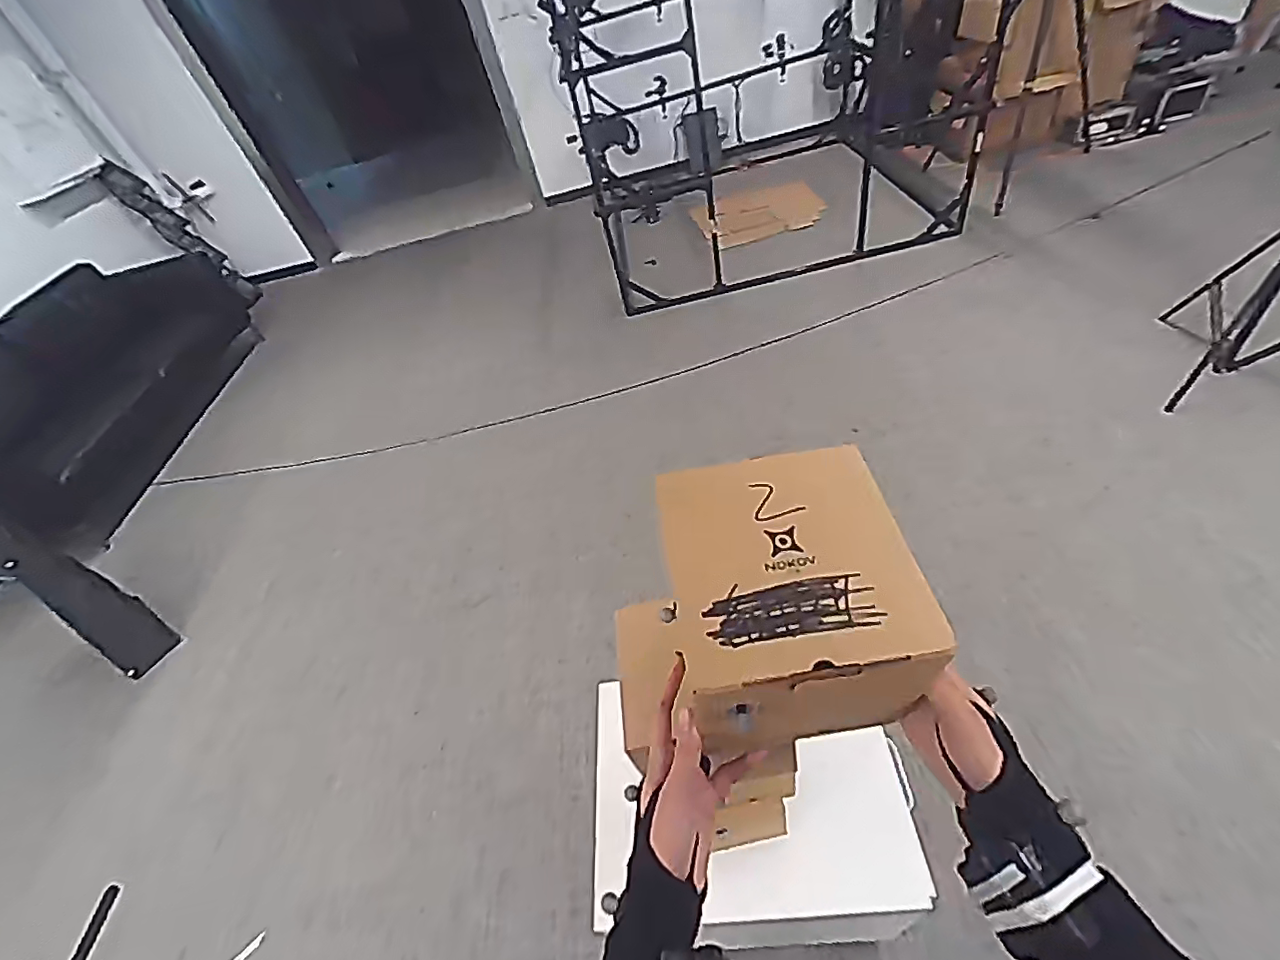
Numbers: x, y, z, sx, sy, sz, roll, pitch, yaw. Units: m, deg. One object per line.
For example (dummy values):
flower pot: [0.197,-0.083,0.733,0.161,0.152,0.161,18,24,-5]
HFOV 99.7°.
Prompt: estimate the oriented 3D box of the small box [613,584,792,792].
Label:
small box: [0.075,0.254,0.651,0.179,0.176,0.168,-13,44,5]

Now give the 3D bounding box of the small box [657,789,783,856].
small box: [0.123,0.485,0.878,0.179,0.176,0.168,-15,45,1]

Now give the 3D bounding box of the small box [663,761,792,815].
small box: [0.112,0.357,0.775,0.168,0.176,0.179,-15,44,3]
